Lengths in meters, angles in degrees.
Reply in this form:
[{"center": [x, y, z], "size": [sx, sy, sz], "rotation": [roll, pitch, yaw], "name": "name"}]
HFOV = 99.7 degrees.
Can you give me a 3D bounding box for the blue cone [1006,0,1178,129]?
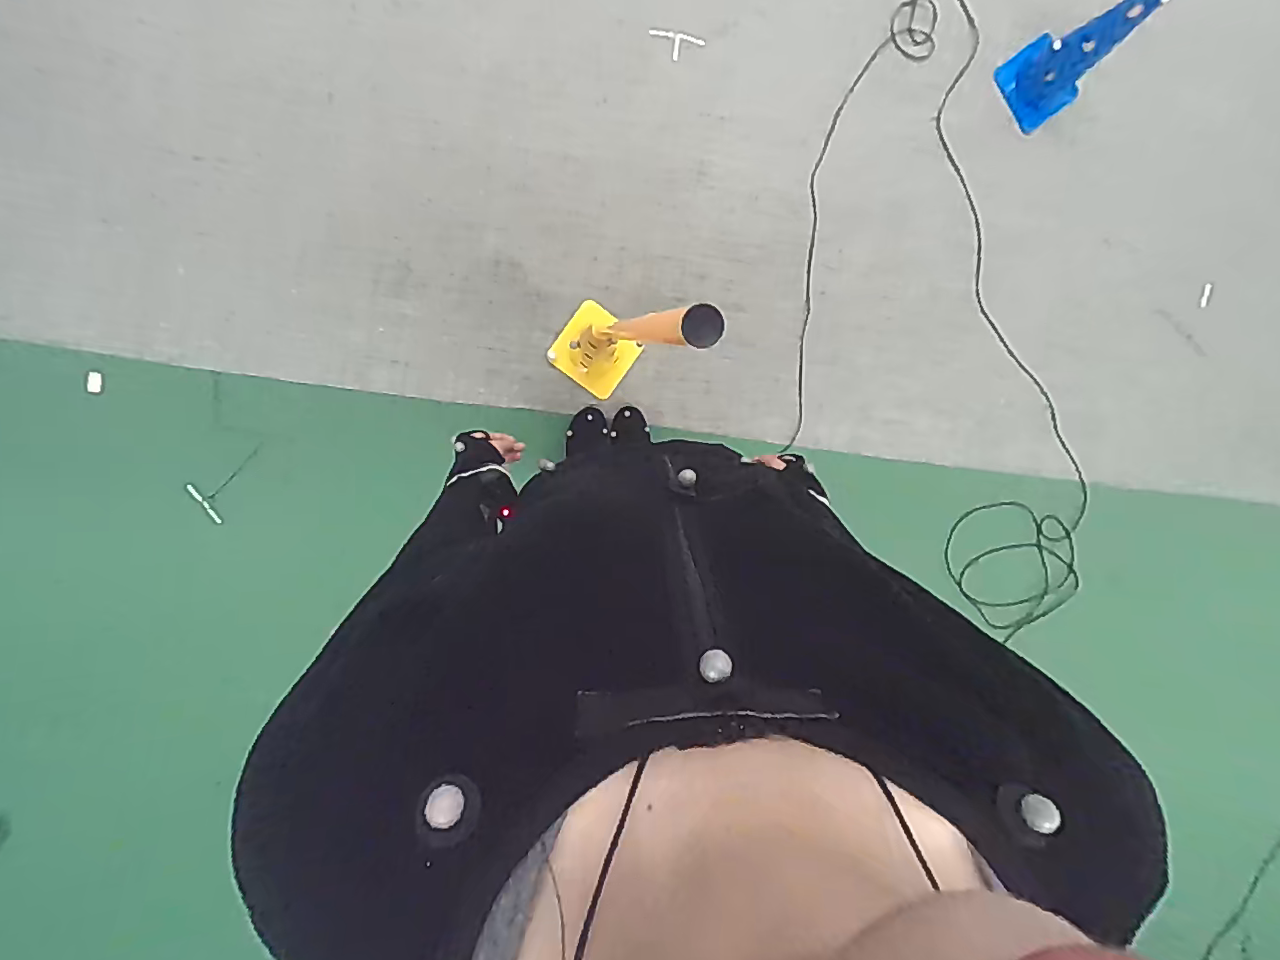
[{"center": [1.133, -1.083, 1.327], "size": [0.193, 0.380, 0.192], "rotation": [-39, 98, -3], "name": "blue cone"}]
